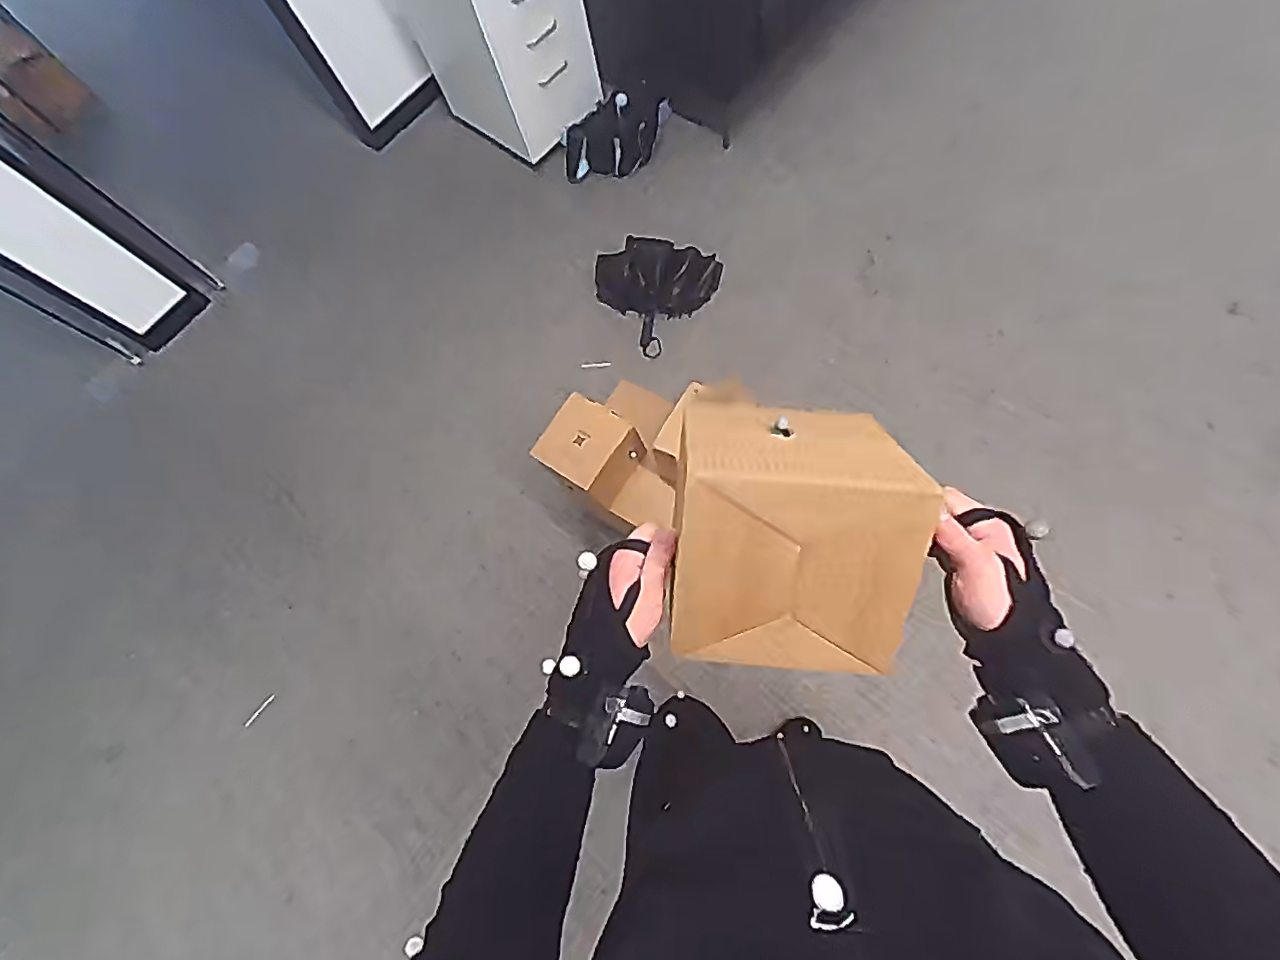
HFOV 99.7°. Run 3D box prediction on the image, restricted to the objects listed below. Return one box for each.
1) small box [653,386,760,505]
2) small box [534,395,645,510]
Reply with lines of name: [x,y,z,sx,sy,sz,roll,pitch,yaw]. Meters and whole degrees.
small box: [0.151,-0.069,1.188,0.168,0.176,0.179,27,76,18]
small box: [-0.104,-0.057,1.232,0.168,0.176,0.179,31,82,20]
